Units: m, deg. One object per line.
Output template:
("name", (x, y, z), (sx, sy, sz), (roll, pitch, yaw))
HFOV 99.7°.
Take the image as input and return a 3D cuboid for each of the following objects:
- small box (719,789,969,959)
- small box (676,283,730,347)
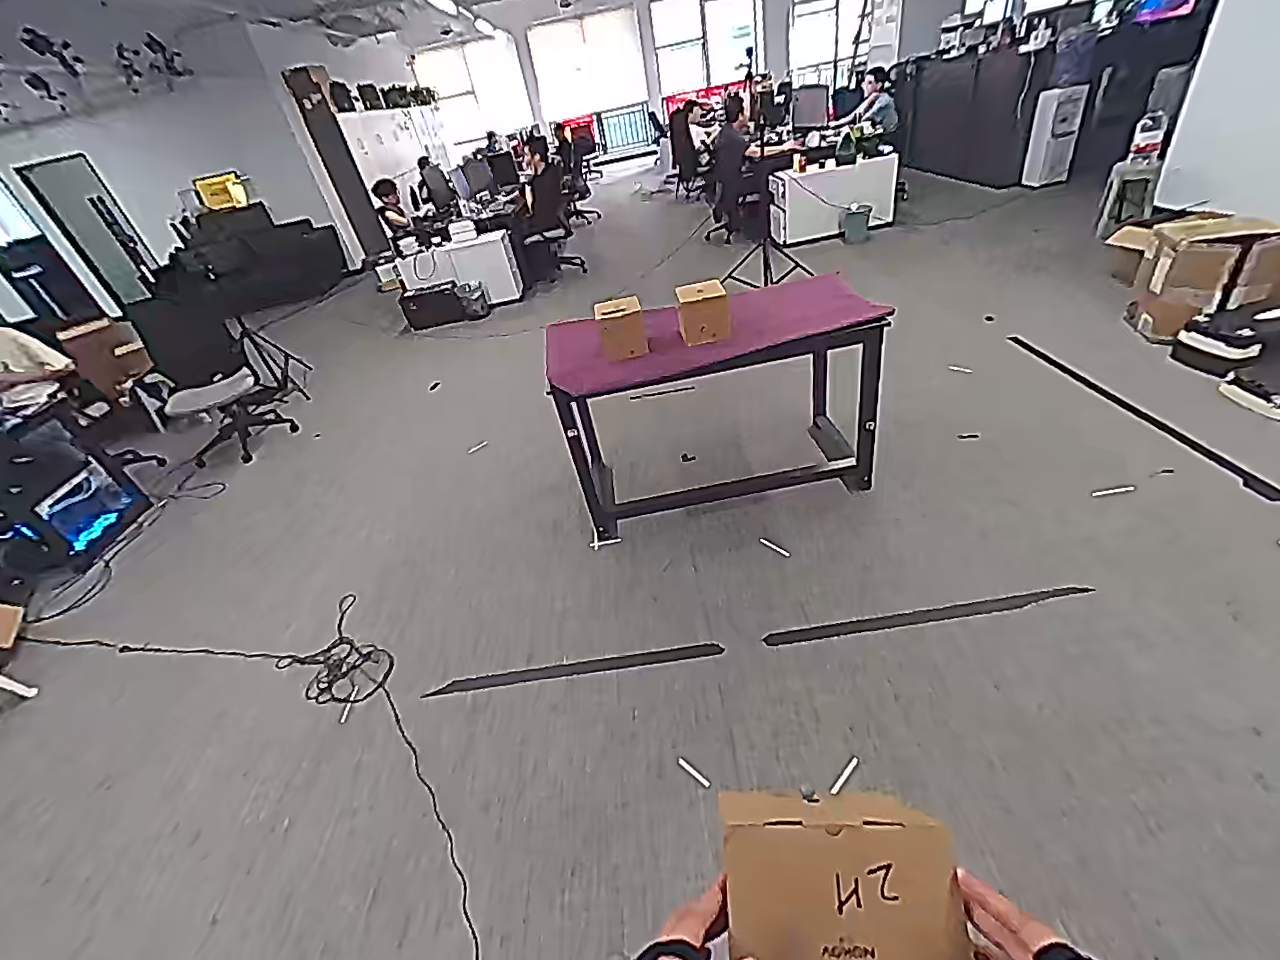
("small box", (0.152, 0.367, 0.445), (0.168, 0.176, 0.179), (-3, 66, 6))
("small box", (0.233, -0.611, 2.002), (0.168, 0.176, 0.179), (-11, 36, 2))
